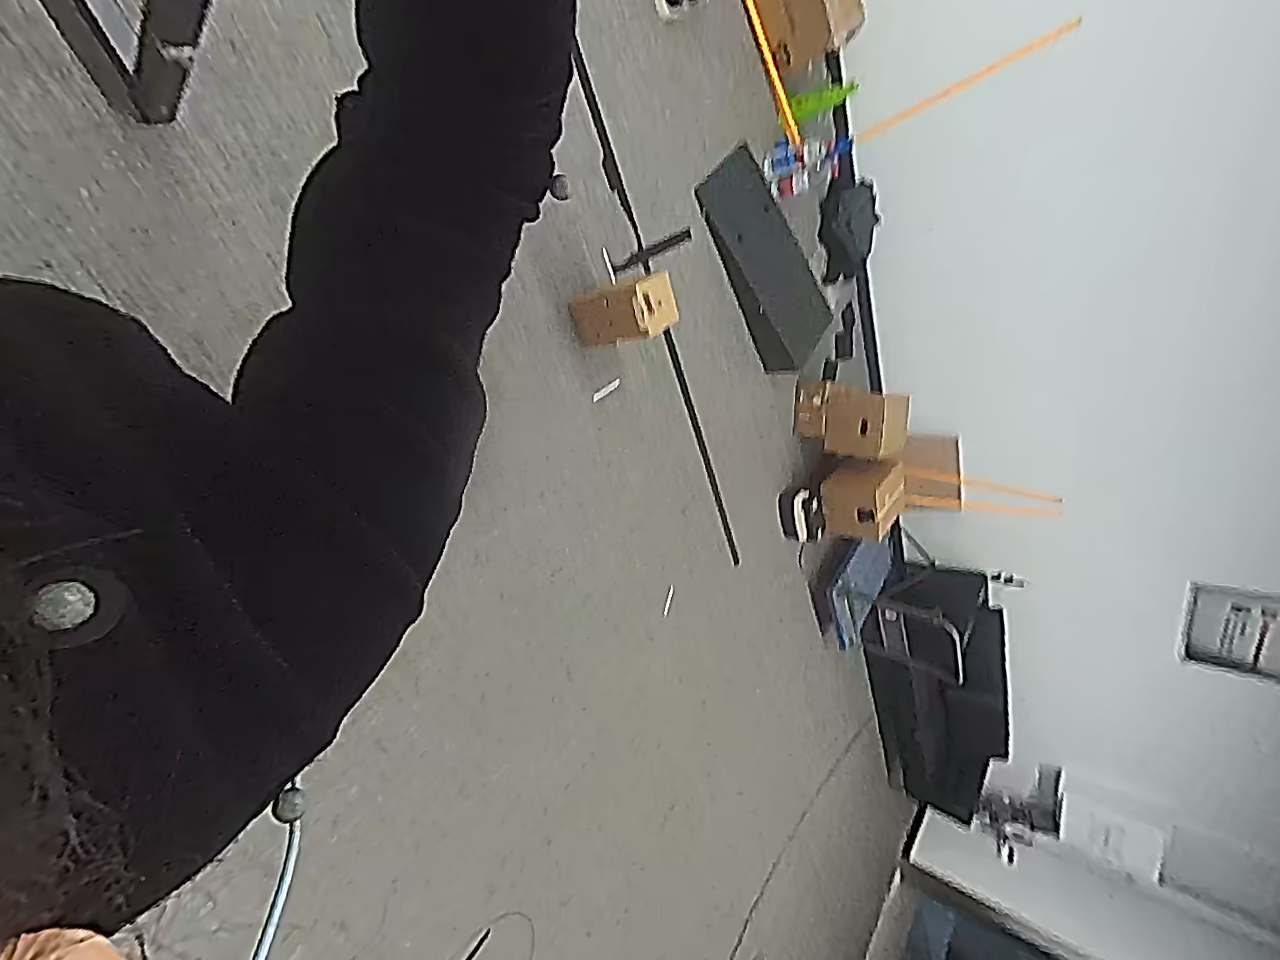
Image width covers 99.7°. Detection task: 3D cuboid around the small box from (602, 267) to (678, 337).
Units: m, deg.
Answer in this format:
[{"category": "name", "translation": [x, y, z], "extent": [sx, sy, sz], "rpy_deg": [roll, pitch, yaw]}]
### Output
[{"category": "small box", "translation": [-0.006, -0.582, 1.780], "extent": [0.179, 0.176, 0.168], "rpy_deg": [-41, 124, -37]}]

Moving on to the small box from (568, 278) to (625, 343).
[{"category": "small box", "translation": [-0.121, -0.593, 1.897], "extent": [0.168, 0.176, 0.179], "rpy_deg": [-43, 125, -34]}]
